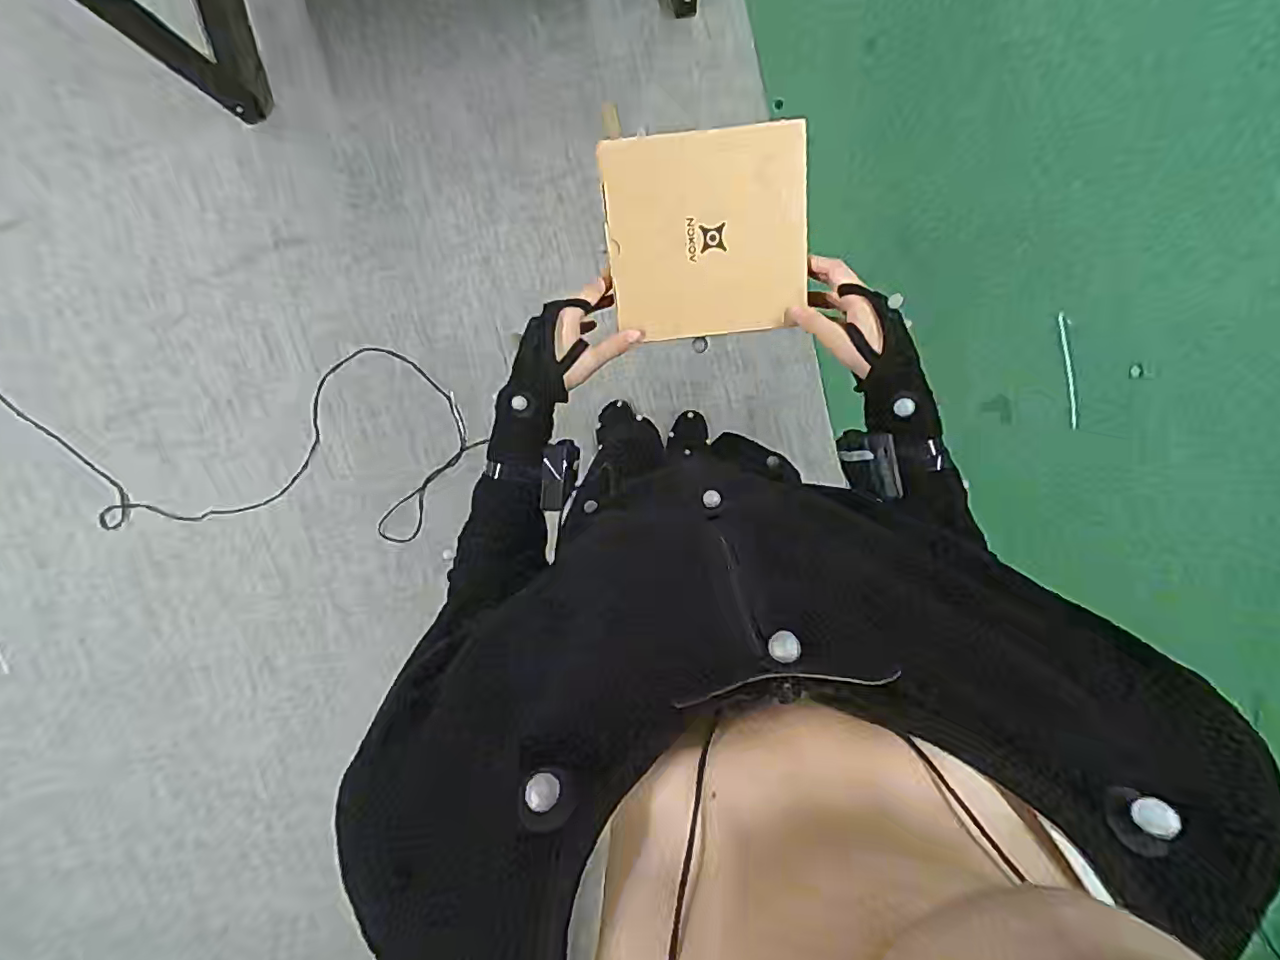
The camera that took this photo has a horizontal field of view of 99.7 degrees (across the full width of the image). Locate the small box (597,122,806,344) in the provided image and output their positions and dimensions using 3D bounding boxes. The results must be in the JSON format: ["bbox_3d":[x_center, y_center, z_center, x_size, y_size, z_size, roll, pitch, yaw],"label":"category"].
[{"bbox_3d":[0.057,-0.237,0.550,0.179,0.176,0.168,-7,108,2],"label":"small box"}]
